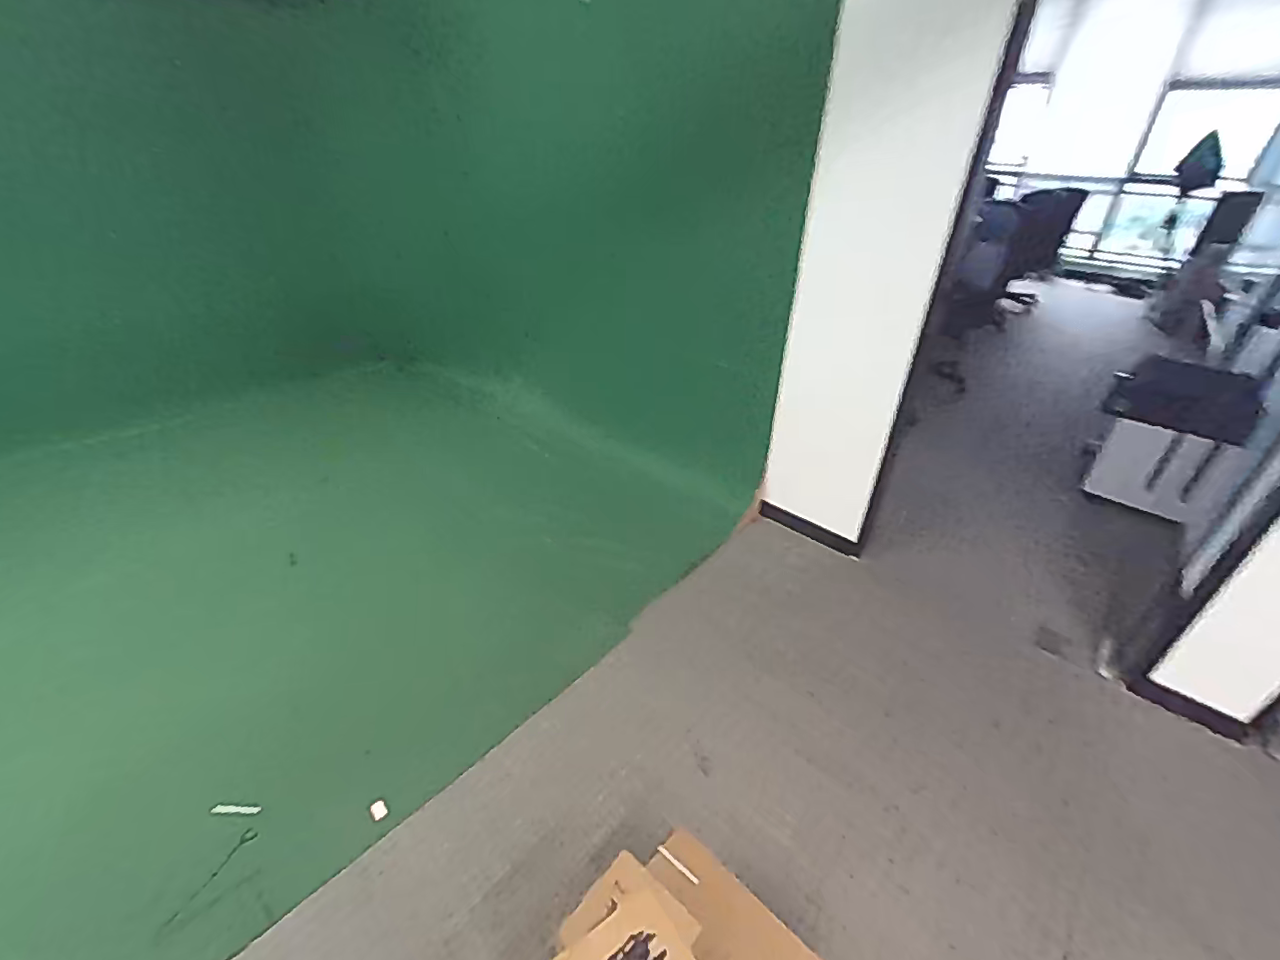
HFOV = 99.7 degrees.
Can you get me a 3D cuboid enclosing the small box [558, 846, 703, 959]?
[{"bbox_3d":[-0.016,0.778,0.905,0.179,0.176,0.168,27,39,34],"label":"small box"}]
